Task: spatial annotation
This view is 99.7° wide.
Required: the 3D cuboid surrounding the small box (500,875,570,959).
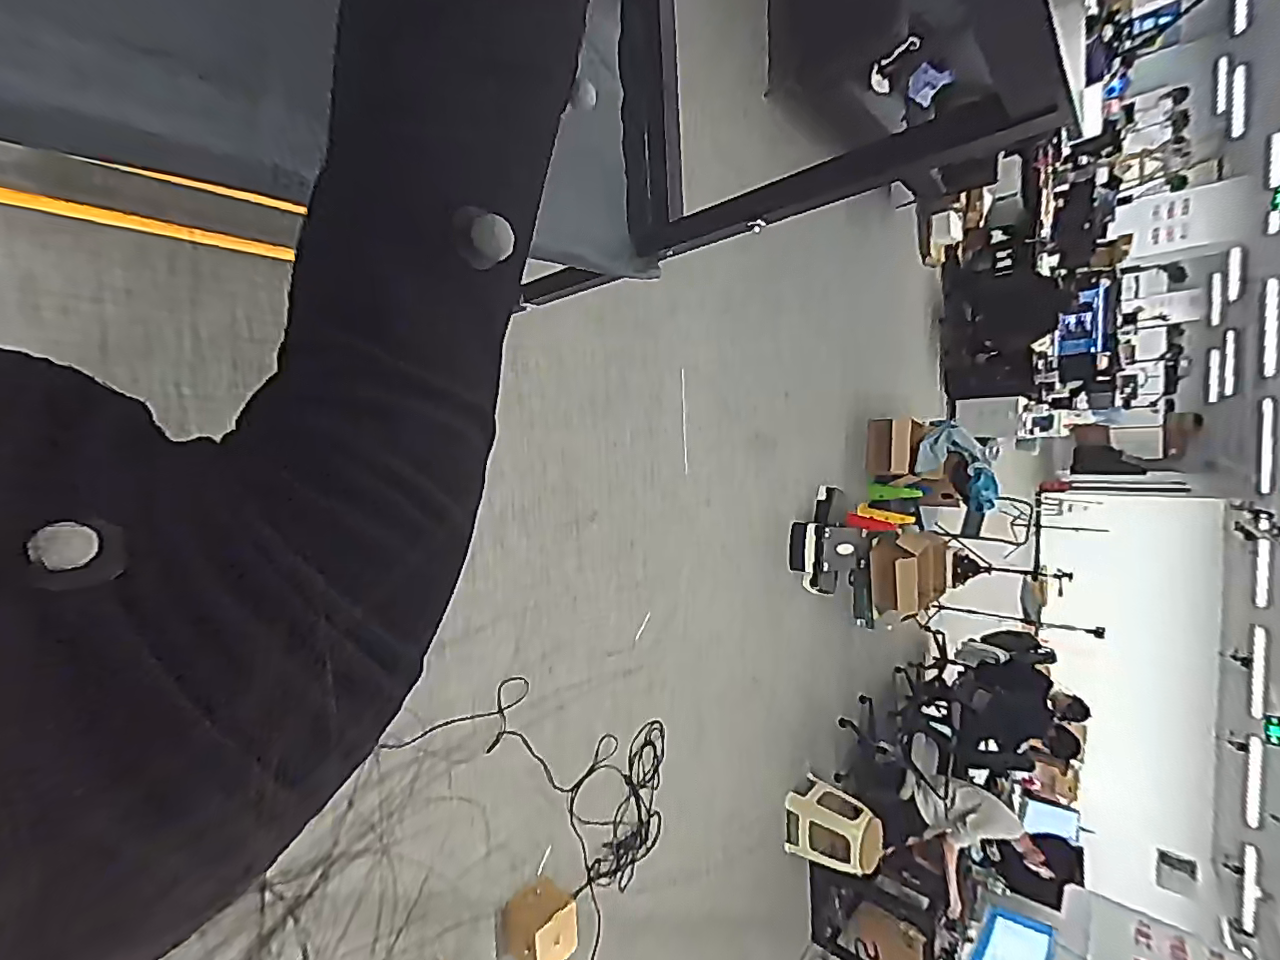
[{"bbox_3d":[-0.352,1.482,1.805,0.168,0.176,0.179,-7,96,-48],"label":"small box"}]
